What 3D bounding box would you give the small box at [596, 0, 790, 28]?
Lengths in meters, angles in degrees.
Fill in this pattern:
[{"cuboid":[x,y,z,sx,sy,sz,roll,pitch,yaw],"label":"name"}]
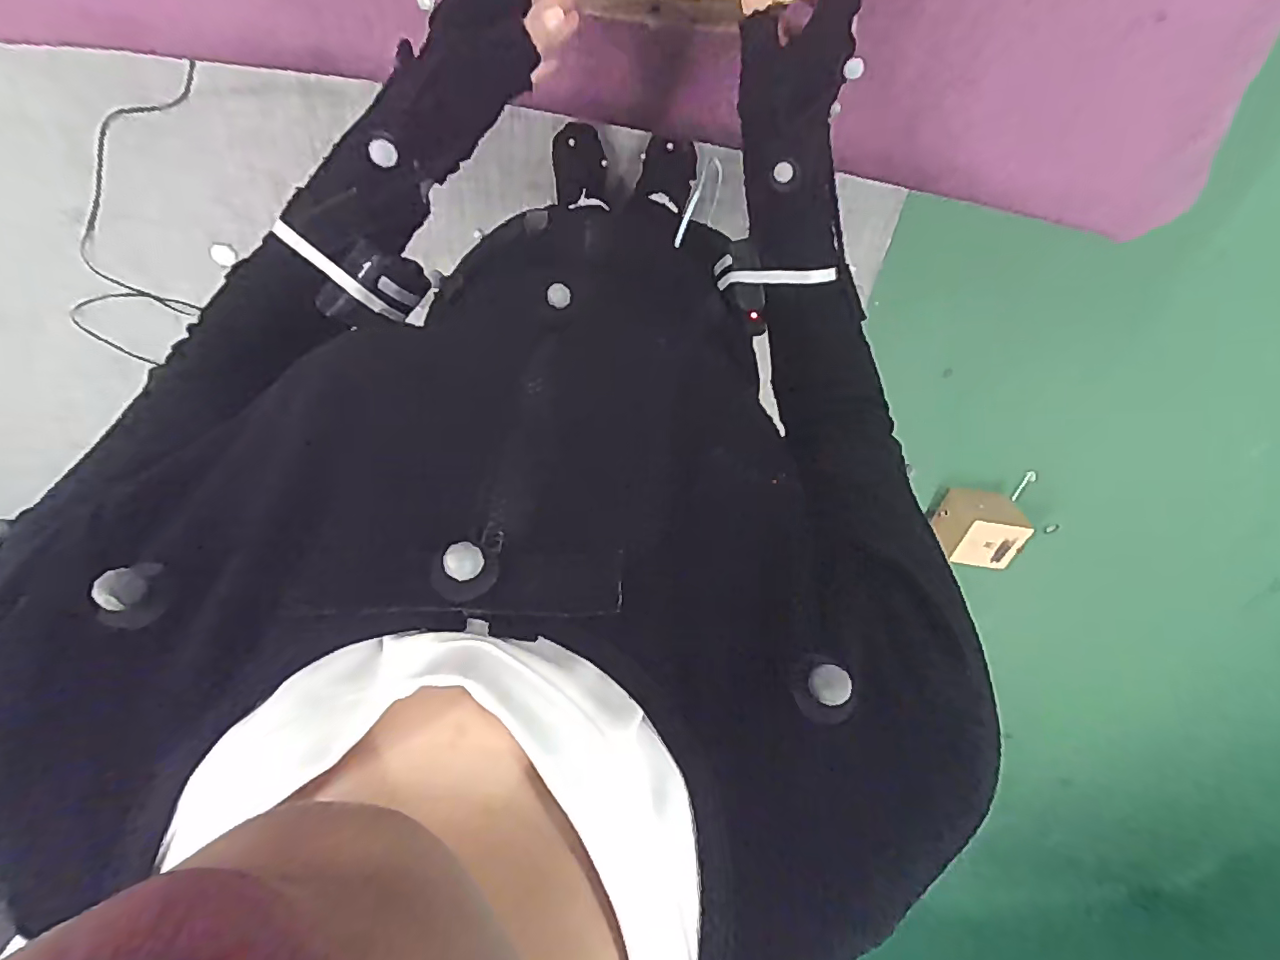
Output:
[{"cuboid":[0.035,-0.447,0.378,0.168,0.176,0.179,7,126,-1],"label":"small box"}]
